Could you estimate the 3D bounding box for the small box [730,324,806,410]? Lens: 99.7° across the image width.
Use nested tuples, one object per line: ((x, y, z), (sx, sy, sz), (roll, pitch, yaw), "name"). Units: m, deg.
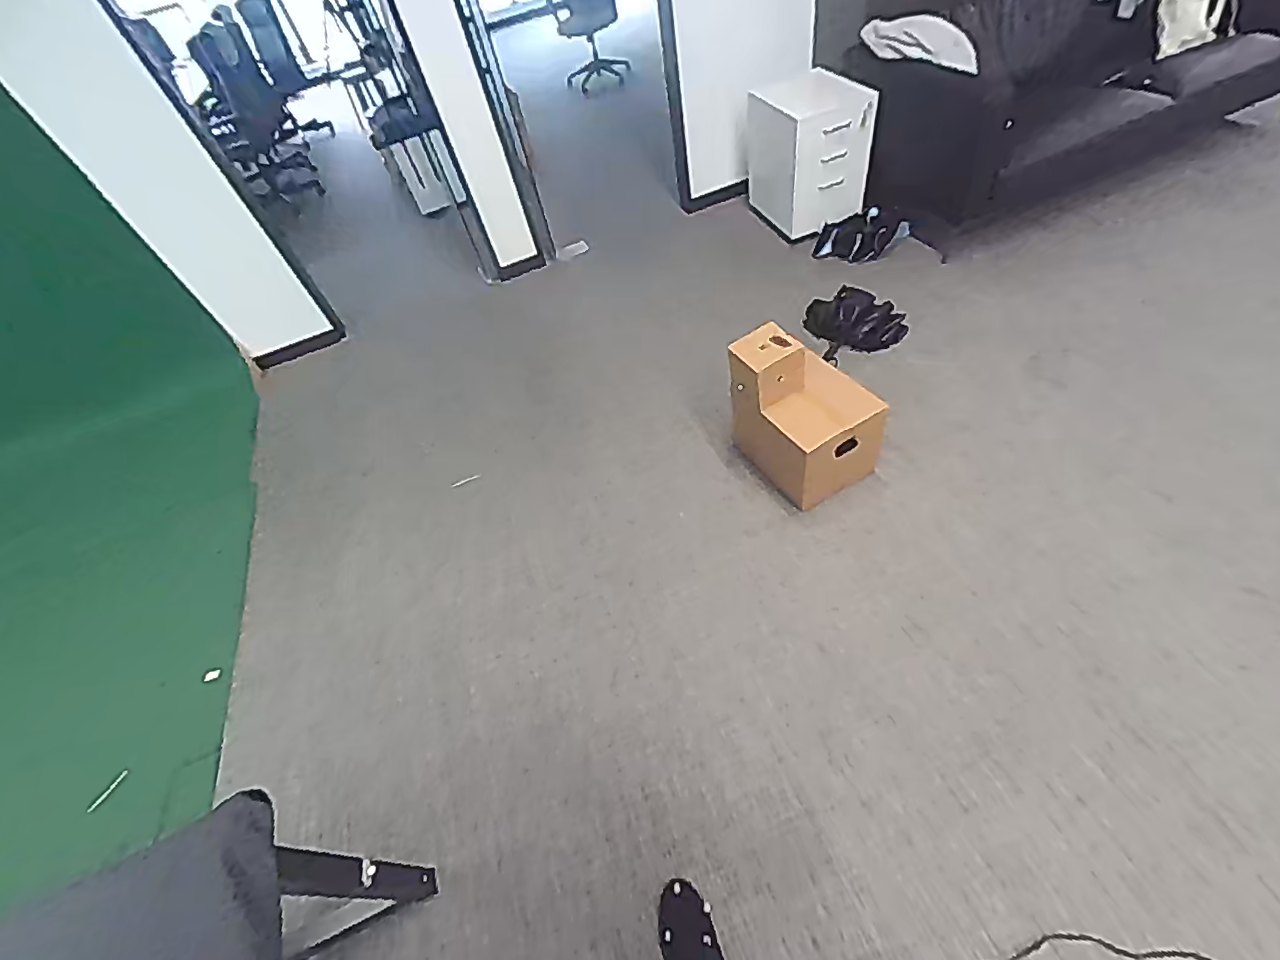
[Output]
((0.407, -0.358, 1.725), (0.179, 0.176, 0.168), (-30, 51, -7), "small box")
